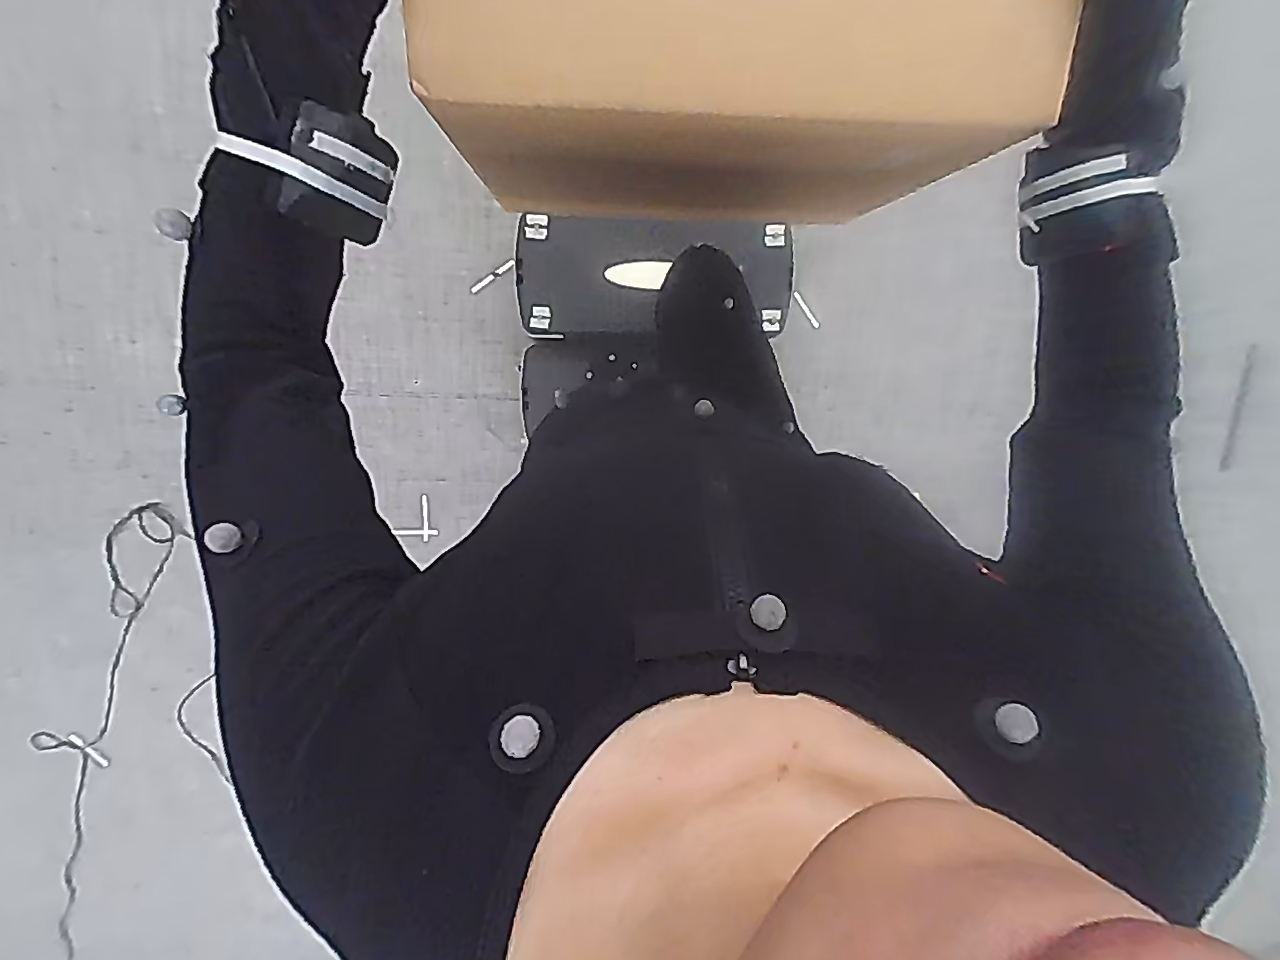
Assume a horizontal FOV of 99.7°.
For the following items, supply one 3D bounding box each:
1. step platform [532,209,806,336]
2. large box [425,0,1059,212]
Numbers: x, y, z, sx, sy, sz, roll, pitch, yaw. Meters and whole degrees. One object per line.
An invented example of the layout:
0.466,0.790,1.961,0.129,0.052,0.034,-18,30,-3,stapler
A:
0.071,-0.519,1.380,0.684,0.204,0.286,-1,102,-5,step platform
0.056,-0.425,0.451,0.408,0.320,0.320,-1,105,-5,large box
